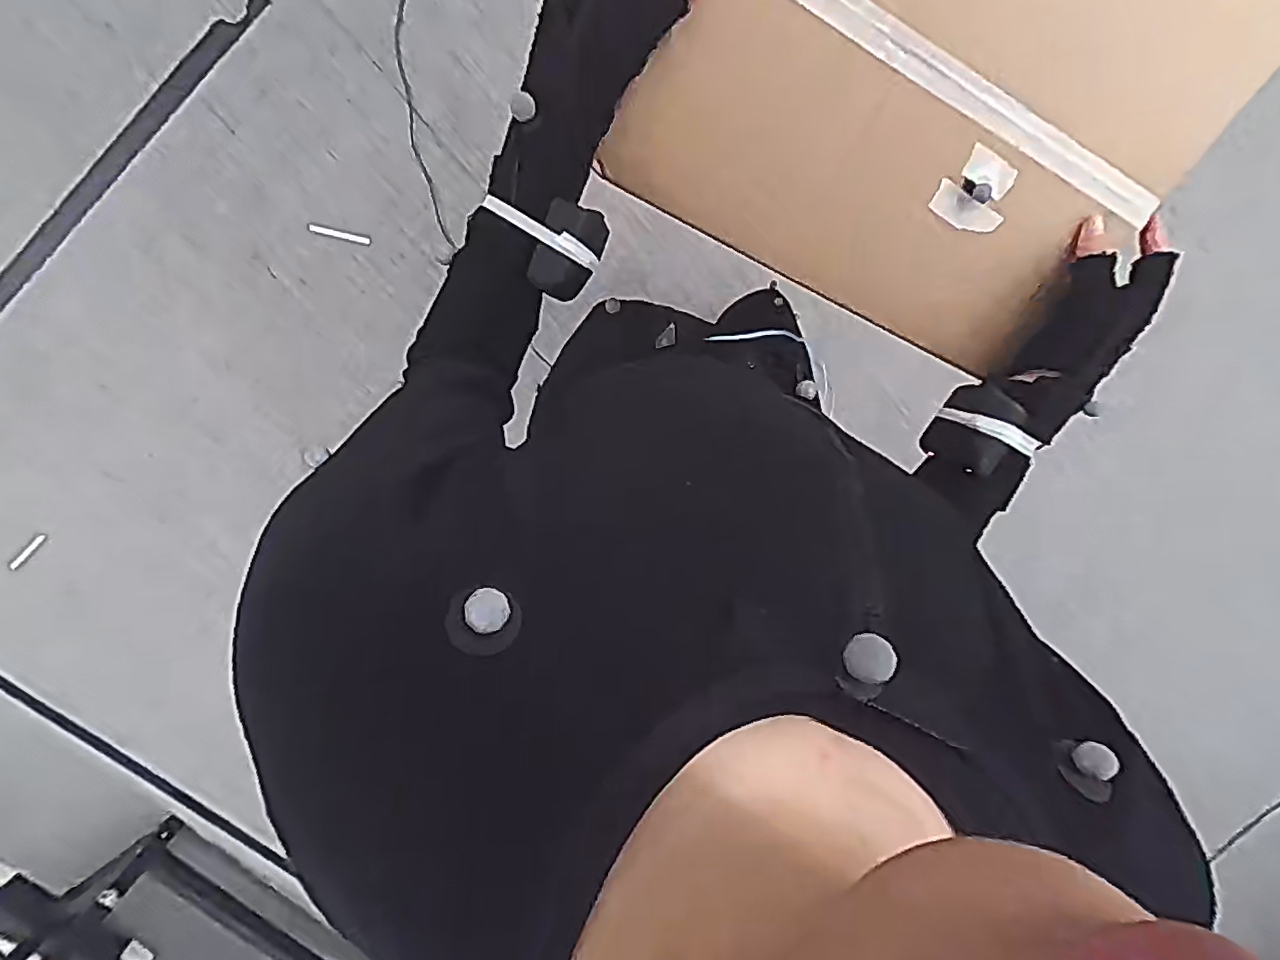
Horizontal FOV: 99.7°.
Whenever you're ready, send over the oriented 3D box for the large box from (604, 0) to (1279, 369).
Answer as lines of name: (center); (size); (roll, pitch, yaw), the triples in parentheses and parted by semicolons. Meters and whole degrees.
large box: (0.206, -0.366, 0.516); (0.408, 0.320, 0.320); (22, 120, -15)
